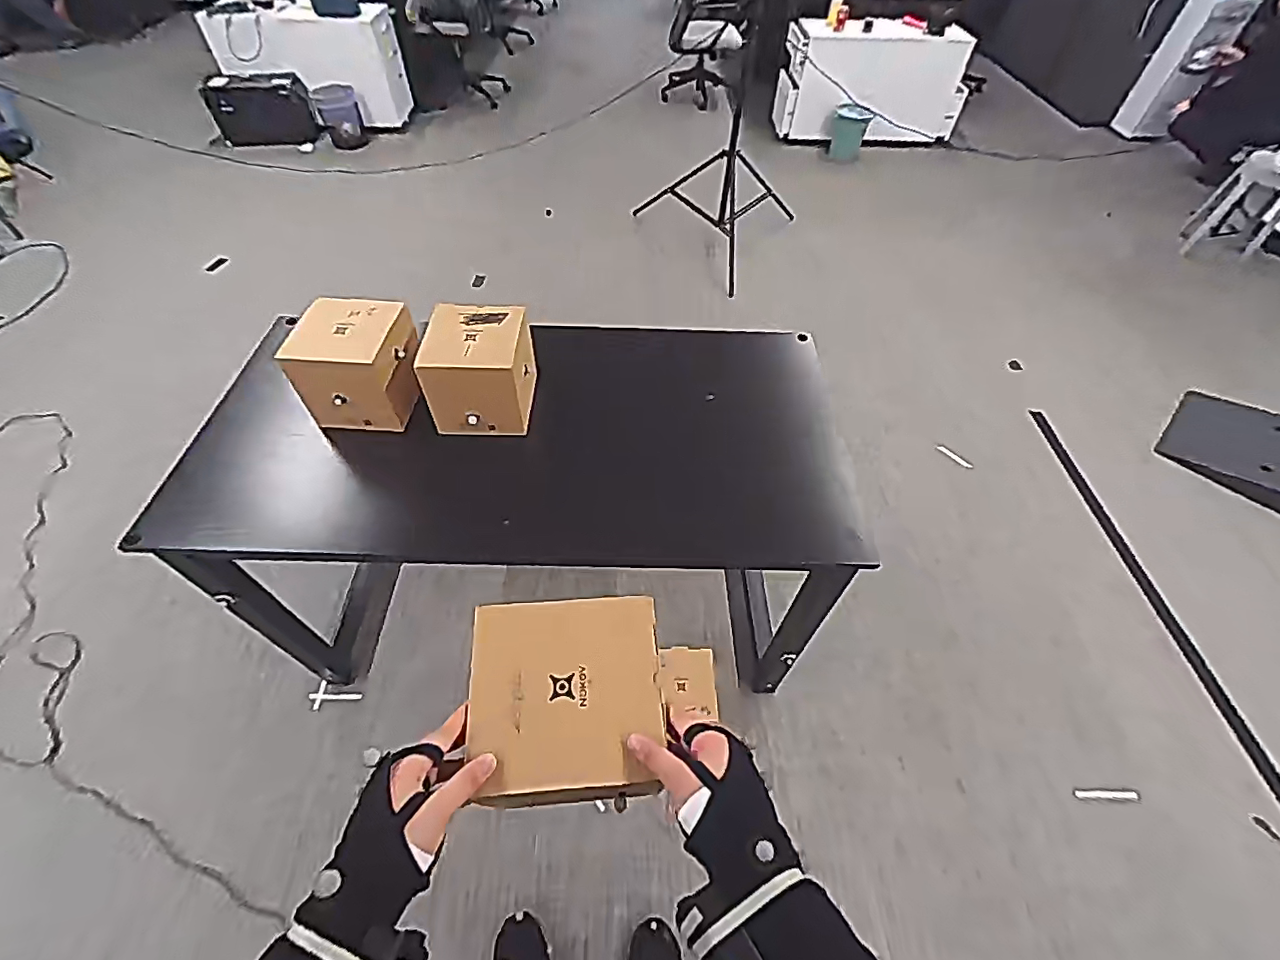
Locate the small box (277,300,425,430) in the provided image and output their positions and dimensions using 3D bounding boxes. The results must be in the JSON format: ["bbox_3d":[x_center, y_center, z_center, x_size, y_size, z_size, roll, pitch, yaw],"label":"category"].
[{"bbox_3d":[-0.519,-0.211,1.009,0.168,0.176,0.179,4,52,1],"label":"small box"}]

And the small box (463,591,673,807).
[{"bbox_3d":[-0.068,0.229,0.556,0.179,0.176,0.168,-5,55,-4],"label":"small box"}]

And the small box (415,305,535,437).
[{"bbox_3d":[-0.295,-0.203,1.010,0.168,0.176,0.179,1,53,-1],"label":"small box"}]

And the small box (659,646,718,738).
[{"bbox_3d":[0.099,0.536,1.366,0.168,0.176,0.179,0,51,-1],"label":"small box"}]
